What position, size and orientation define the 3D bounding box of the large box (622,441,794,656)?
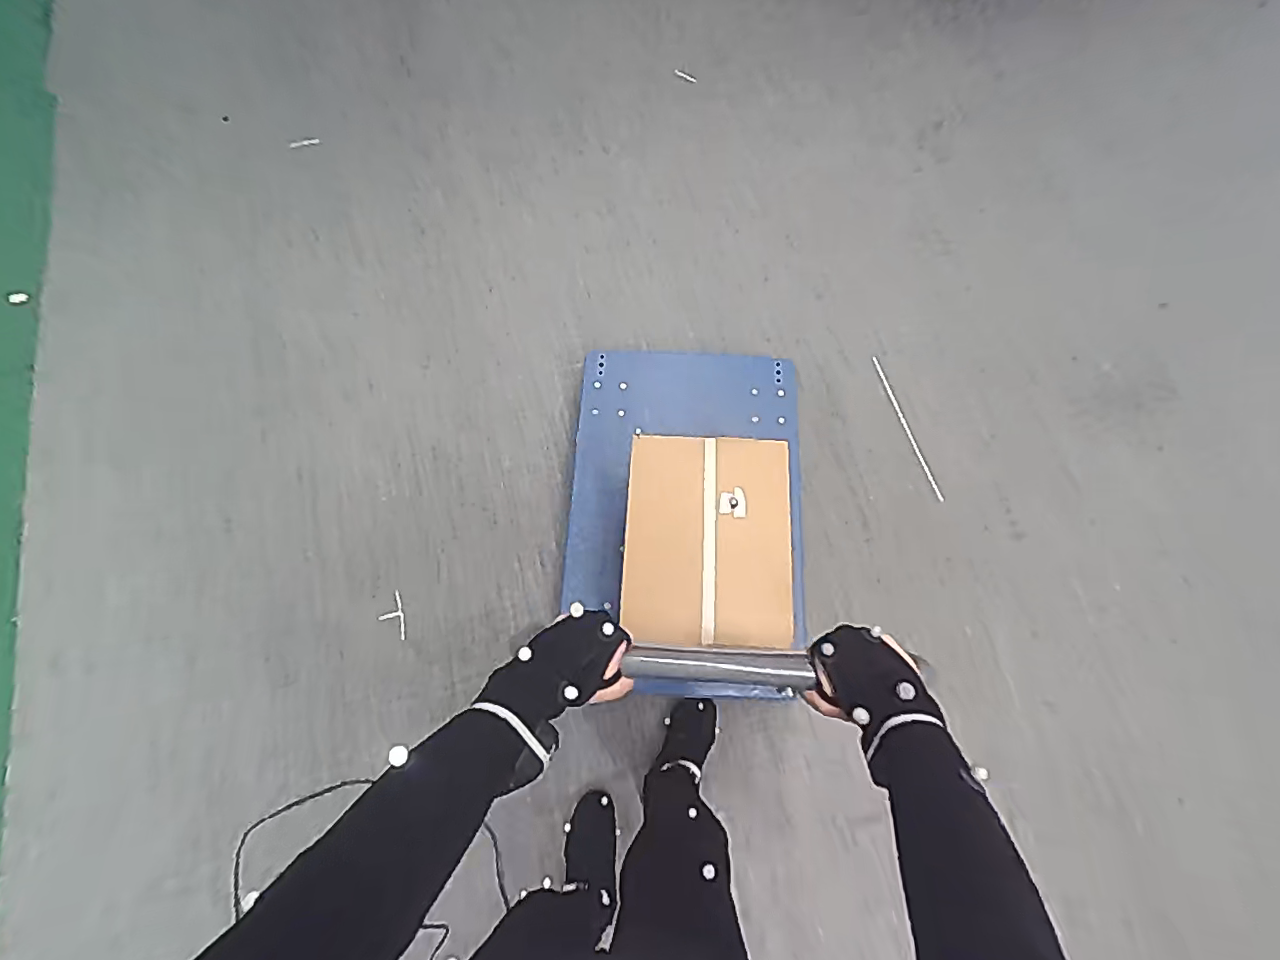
[{"bbox_3d":[0.130,0.163,1.165,0.320,0.320,0.408,3,70,1],"label":"large box"}]
